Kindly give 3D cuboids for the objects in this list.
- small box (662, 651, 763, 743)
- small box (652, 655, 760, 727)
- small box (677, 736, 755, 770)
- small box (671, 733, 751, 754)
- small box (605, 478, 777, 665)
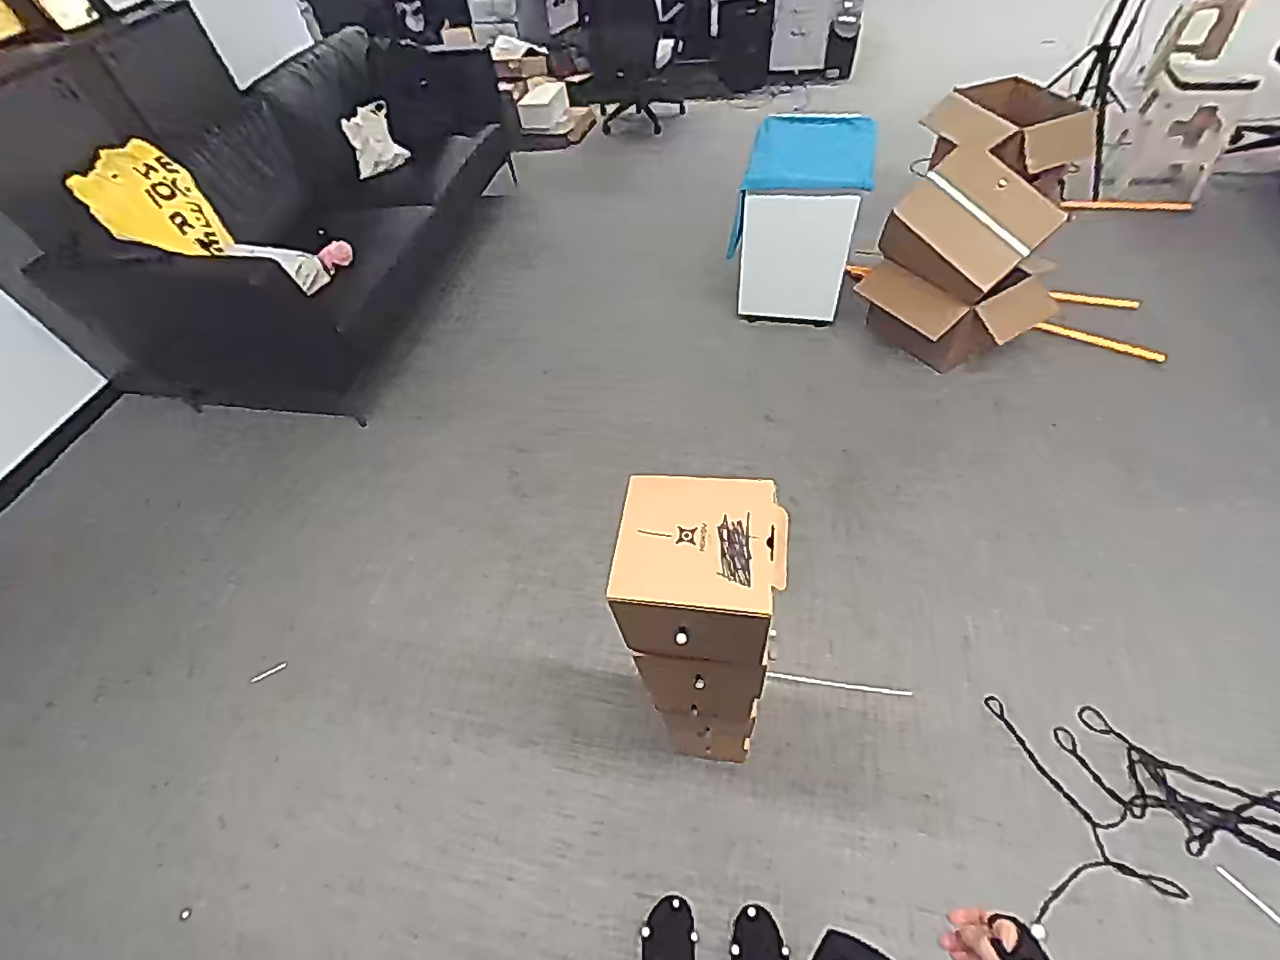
[{"bbox_3d":[0.144,0.404,1.057,0.179,0.176,0.168,2,53,10],"label":"small box"},{"bbox_3d":[0.118,0.305,0.930,0.168,0.176,0.179,2,54,10],"label":"small box"},{"bbox_3d":[0.190,0.594,1.319,0.179,0.176,0.168,4,53,11],"label":"small box"},{"bbox_3d":[0.161,0.492,1.194,0.179,0.176,0.168,4,54,11],"label":"small box"},{"bbox_3d":[0.072,0.116,0.666,0.179,0.176,0.168,3,54,13],"label":"small box"}]
